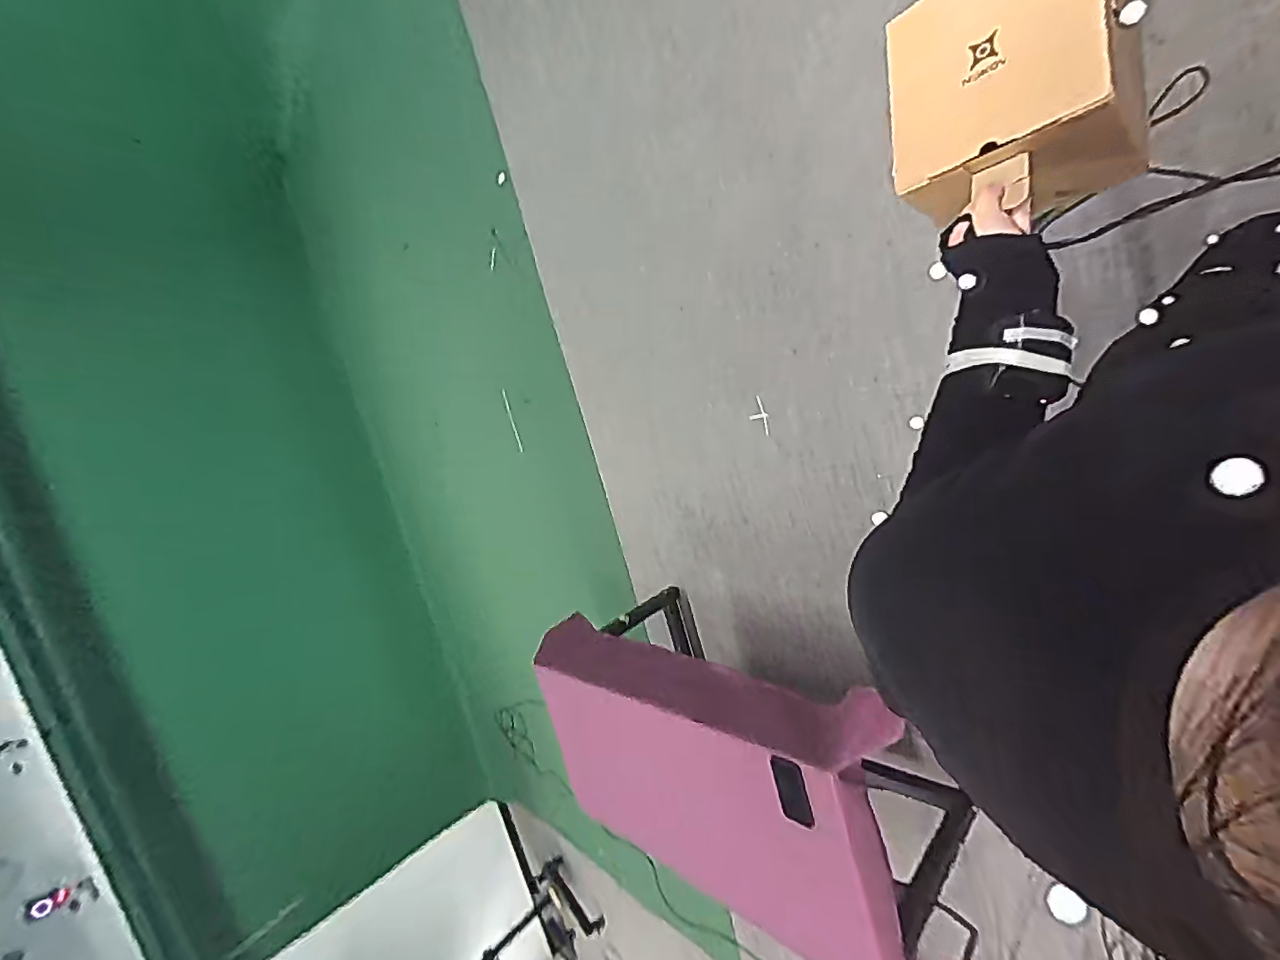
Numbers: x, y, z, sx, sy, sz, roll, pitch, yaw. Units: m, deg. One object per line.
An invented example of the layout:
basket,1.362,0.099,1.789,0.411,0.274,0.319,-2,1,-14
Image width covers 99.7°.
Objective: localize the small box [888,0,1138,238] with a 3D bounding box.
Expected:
small box,0.369,-0.373,0.538,0.168,0.176,0.179,-4,89,51
